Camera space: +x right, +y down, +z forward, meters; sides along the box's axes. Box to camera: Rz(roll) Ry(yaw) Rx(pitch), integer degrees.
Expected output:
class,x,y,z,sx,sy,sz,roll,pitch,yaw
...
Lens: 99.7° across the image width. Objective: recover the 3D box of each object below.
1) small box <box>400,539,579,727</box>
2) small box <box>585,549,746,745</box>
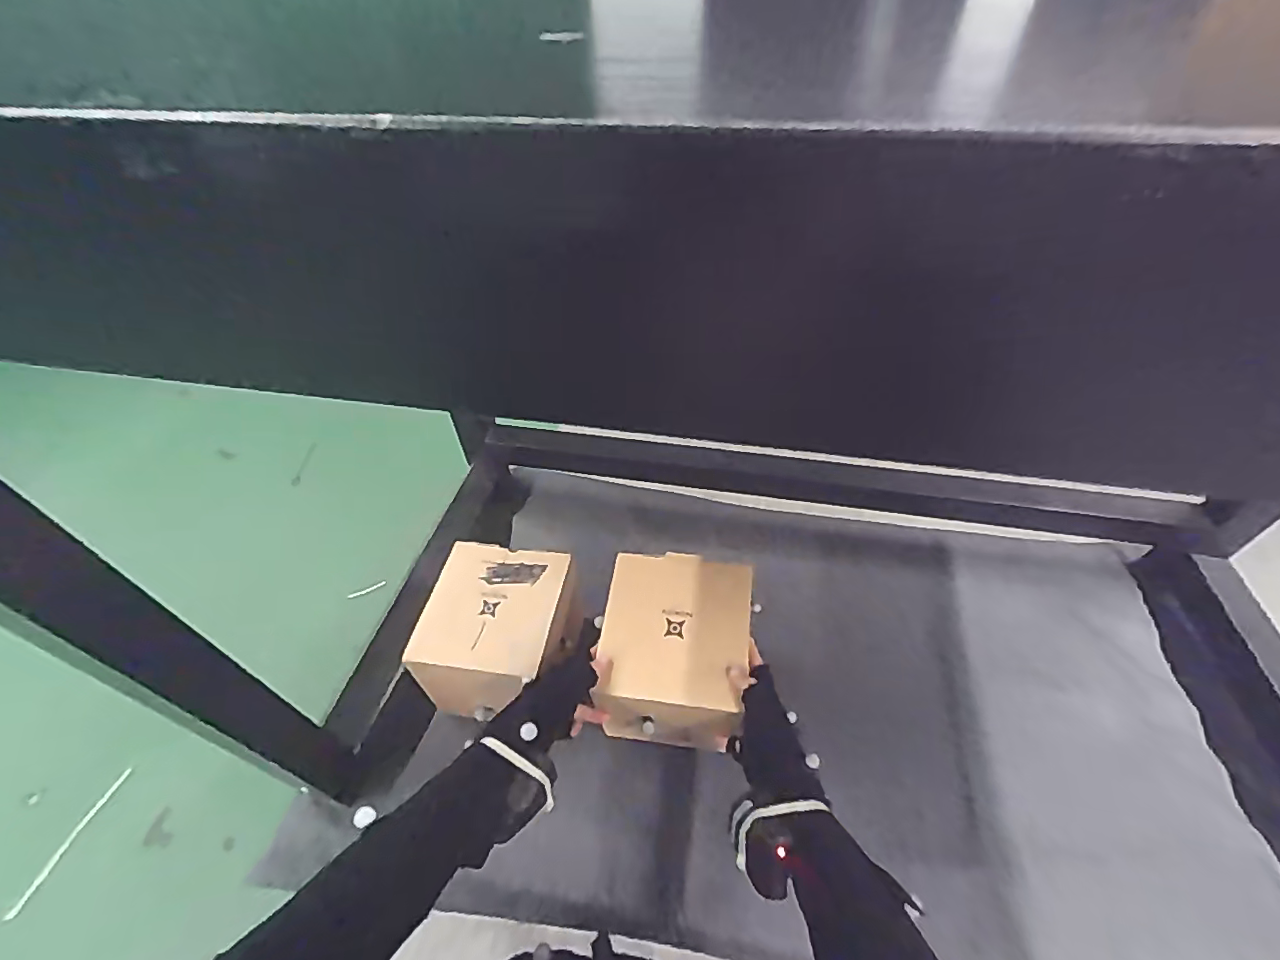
class,x,y,z,sx,sy,sz,roll,pitch,yaw
small box,-0.185,0.206,0.732,0.168,0.176,0.179,6,47,9
small box,0.040,0.209,0.667,0.168,0.176,0.179,4,50,8
